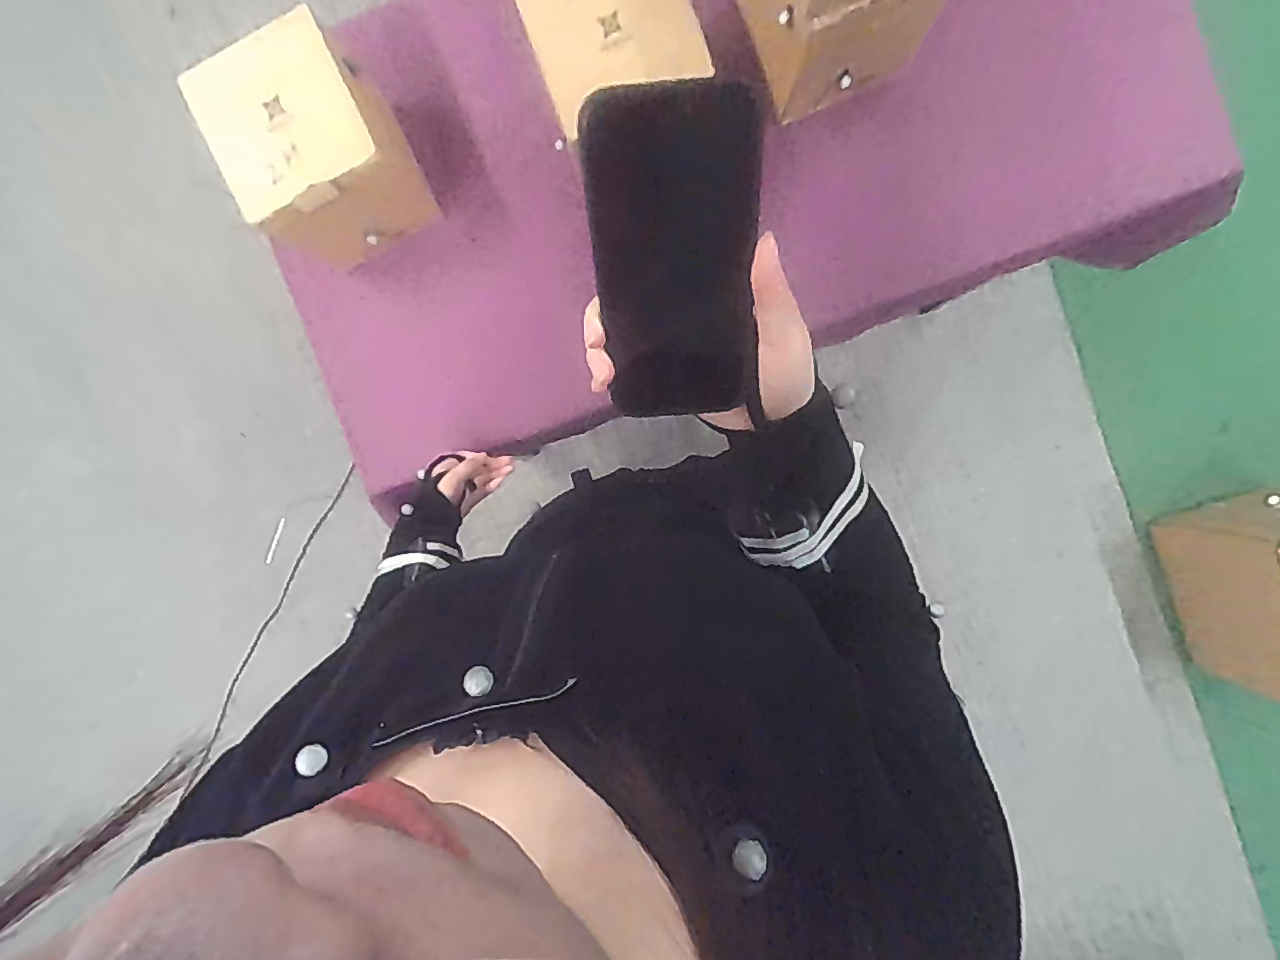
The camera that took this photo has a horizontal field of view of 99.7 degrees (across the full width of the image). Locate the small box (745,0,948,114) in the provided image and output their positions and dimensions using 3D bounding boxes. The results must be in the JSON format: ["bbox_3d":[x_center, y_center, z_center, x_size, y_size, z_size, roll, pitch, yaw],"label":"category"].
[{"bbox_3d":[0.225,-0.566,0.603,0.168,0.176,0.179,-20,94,5],"label":"small box"}]

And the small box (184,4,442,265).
[{"bbox_3d":[-0.376,-0.395,0.655,0.168,0.176,0.179,-25,93,5],"label":"small box"}]

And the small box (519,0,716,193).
[{"bbox_3d":[-0.019,-0.467,0.628,0.168,0.176,0.179,-20,92,5],"label":"small box"}]
